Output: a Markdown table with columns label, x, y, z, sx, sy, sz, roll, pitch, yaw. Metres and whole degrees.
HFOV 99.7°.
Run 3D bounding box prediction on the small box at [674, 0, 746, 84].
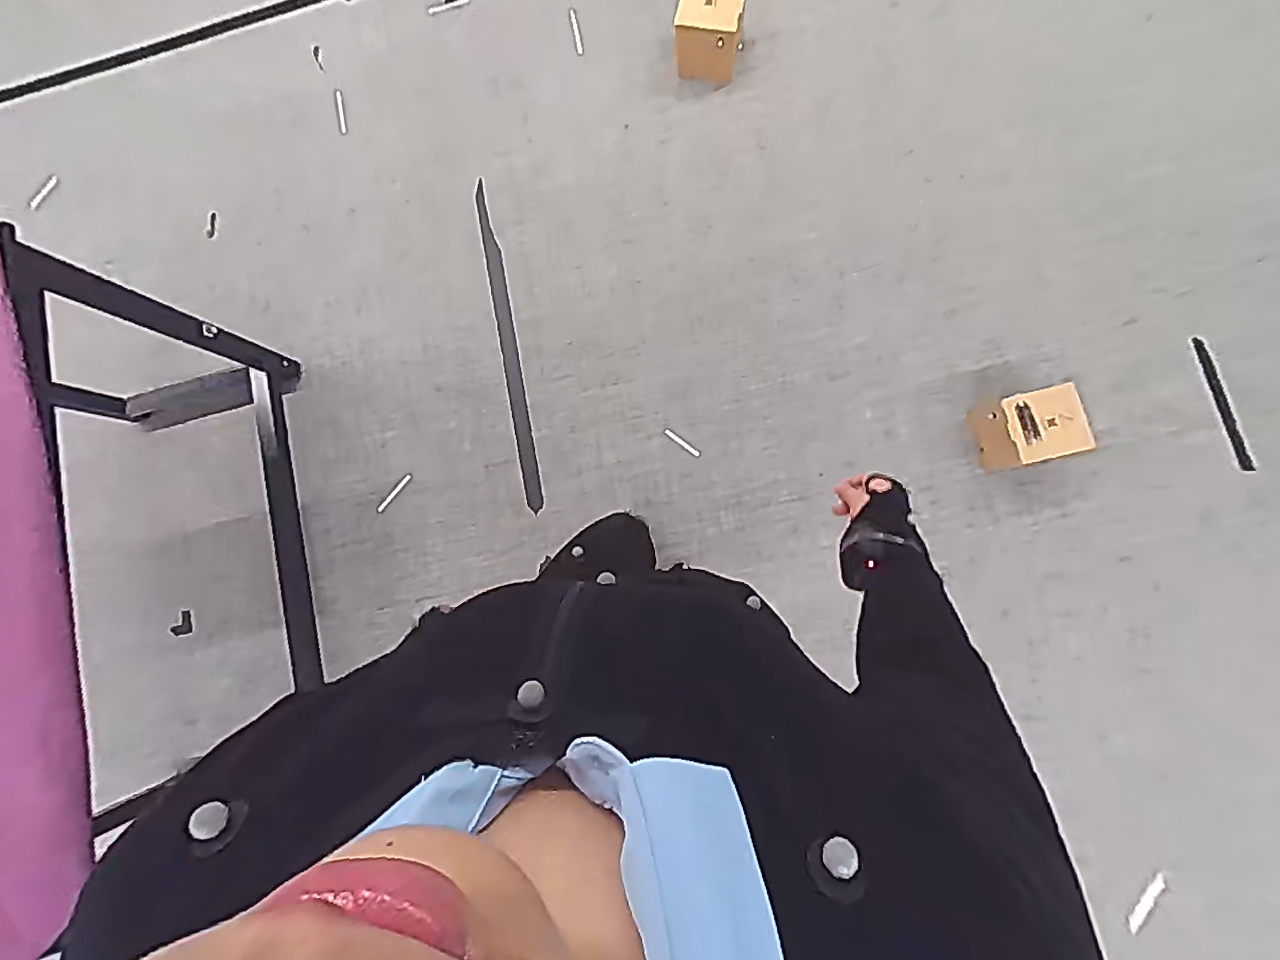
| label | x | y | z | sx | sy | sz | roll | pitch | yaw |
| --- | --- | --- | --- | --- | --- | --- | --- | --- | --- |
| small box | 0.203 | -1.304 | 1.579 | 0.179 | 0.176 | 0.168 | 13 | 85 | 6 |
